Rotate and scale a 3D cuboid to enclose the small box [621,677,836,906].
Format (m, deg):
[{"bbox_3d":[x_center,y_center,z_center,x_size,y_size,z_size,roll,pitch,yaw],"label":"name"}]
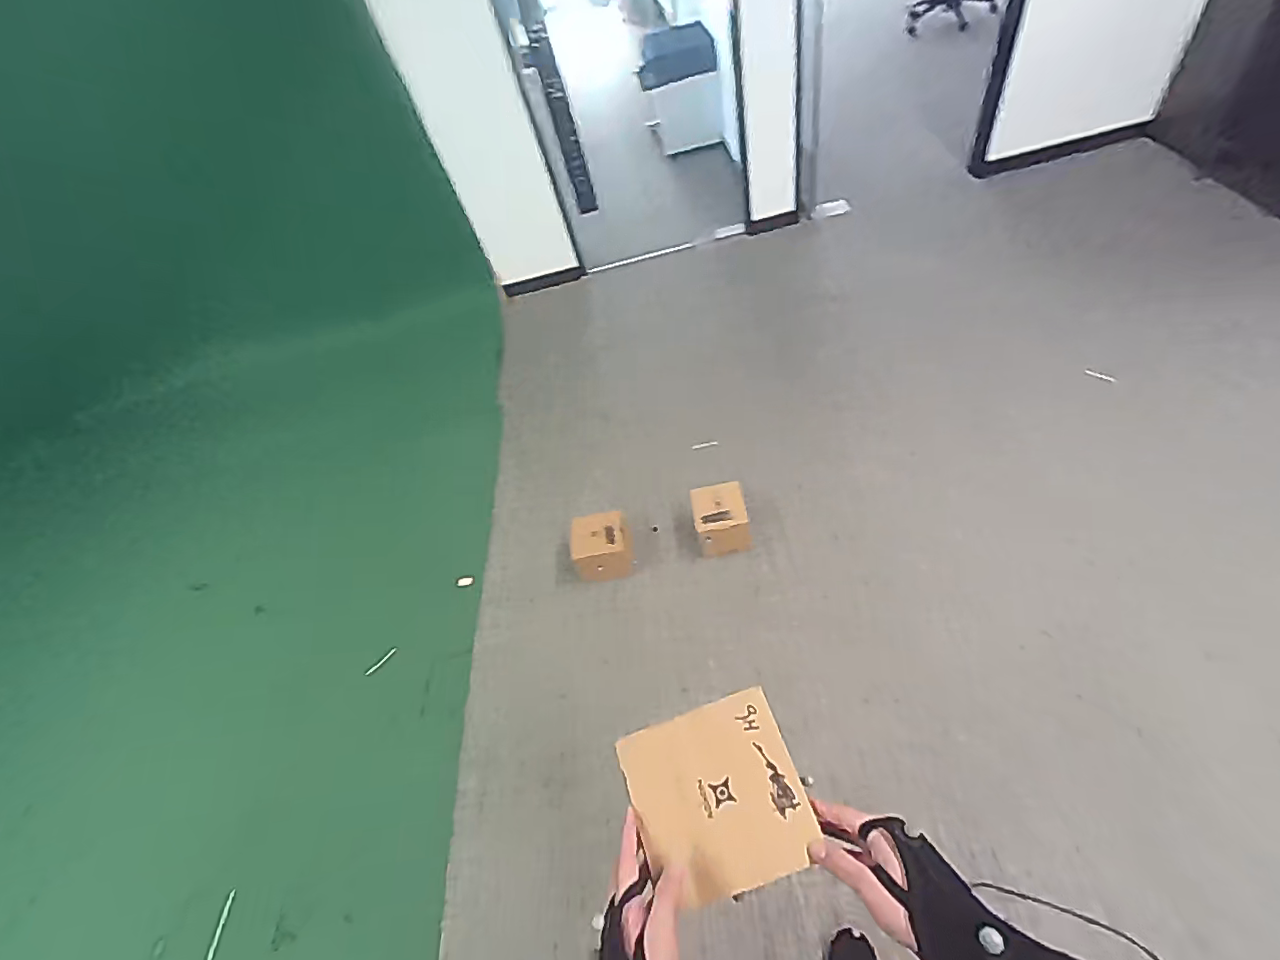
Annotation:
[{"bbox_3d":[0.099,0.344,0.607,0.179,0.176,0.168,-21,58,2],"label":"small box"}]

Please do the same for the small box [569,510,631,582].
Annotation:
[{"bbox_3d":[-0.131,0.227,1.828,0.179,0.176,0.168,-12,50,8],"label":"small box"}]
